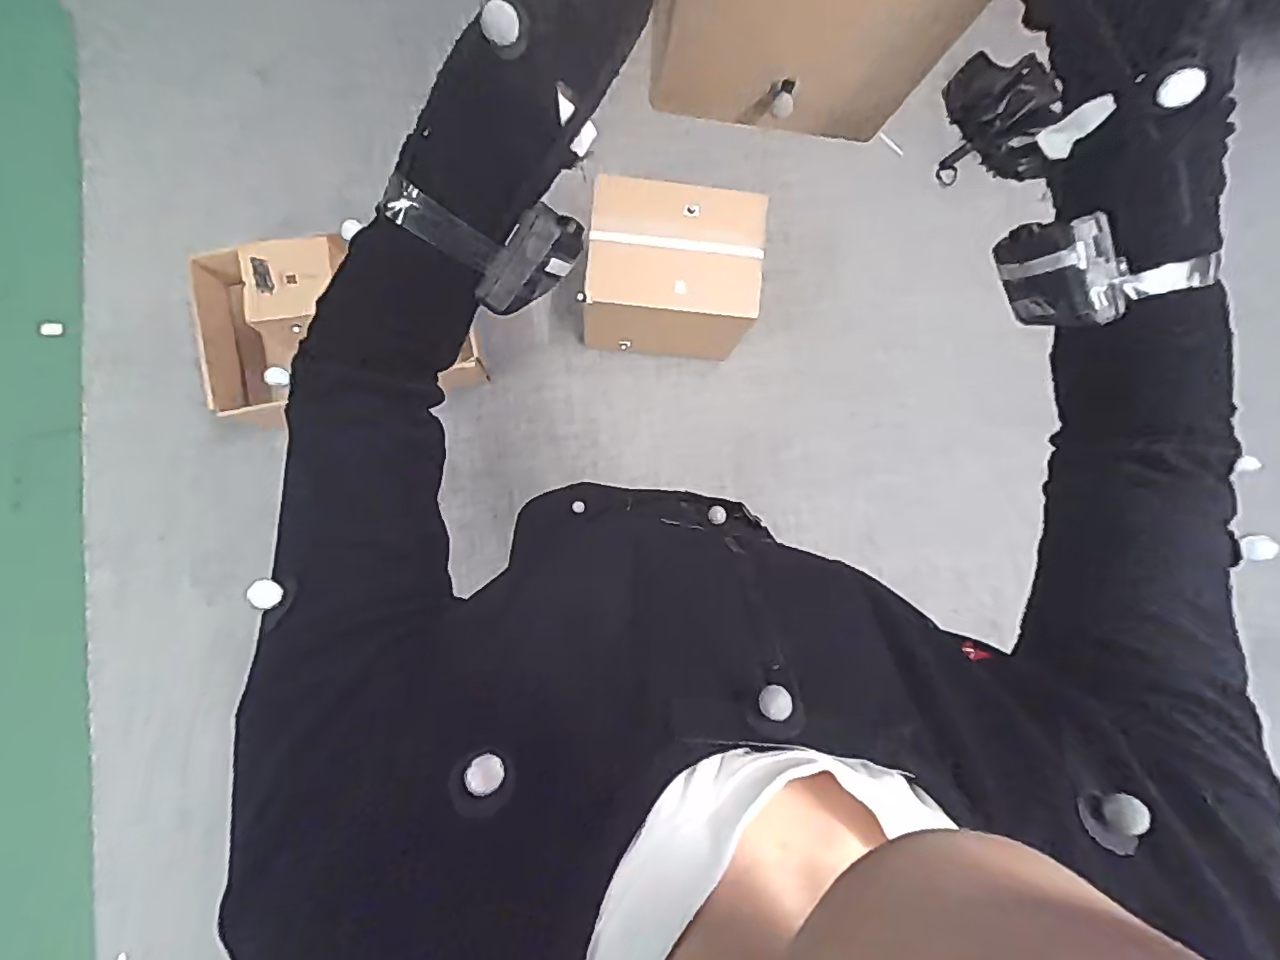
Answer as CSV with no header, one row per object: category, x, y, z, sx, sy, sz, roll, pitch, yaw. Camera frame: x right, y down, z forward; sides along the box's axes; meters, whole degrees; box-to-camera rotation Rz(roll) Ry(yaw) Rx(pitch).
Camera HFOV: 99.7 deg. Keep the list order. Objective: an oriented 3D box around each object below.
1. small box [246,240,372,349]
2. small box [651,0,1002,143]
small box,-0.717,-0.399,1.185,0.179,0.176,0.168,-9,85,-7
small box,0.111,-0.348,0.336,0.179,0.176,0.168,4,87,-8
